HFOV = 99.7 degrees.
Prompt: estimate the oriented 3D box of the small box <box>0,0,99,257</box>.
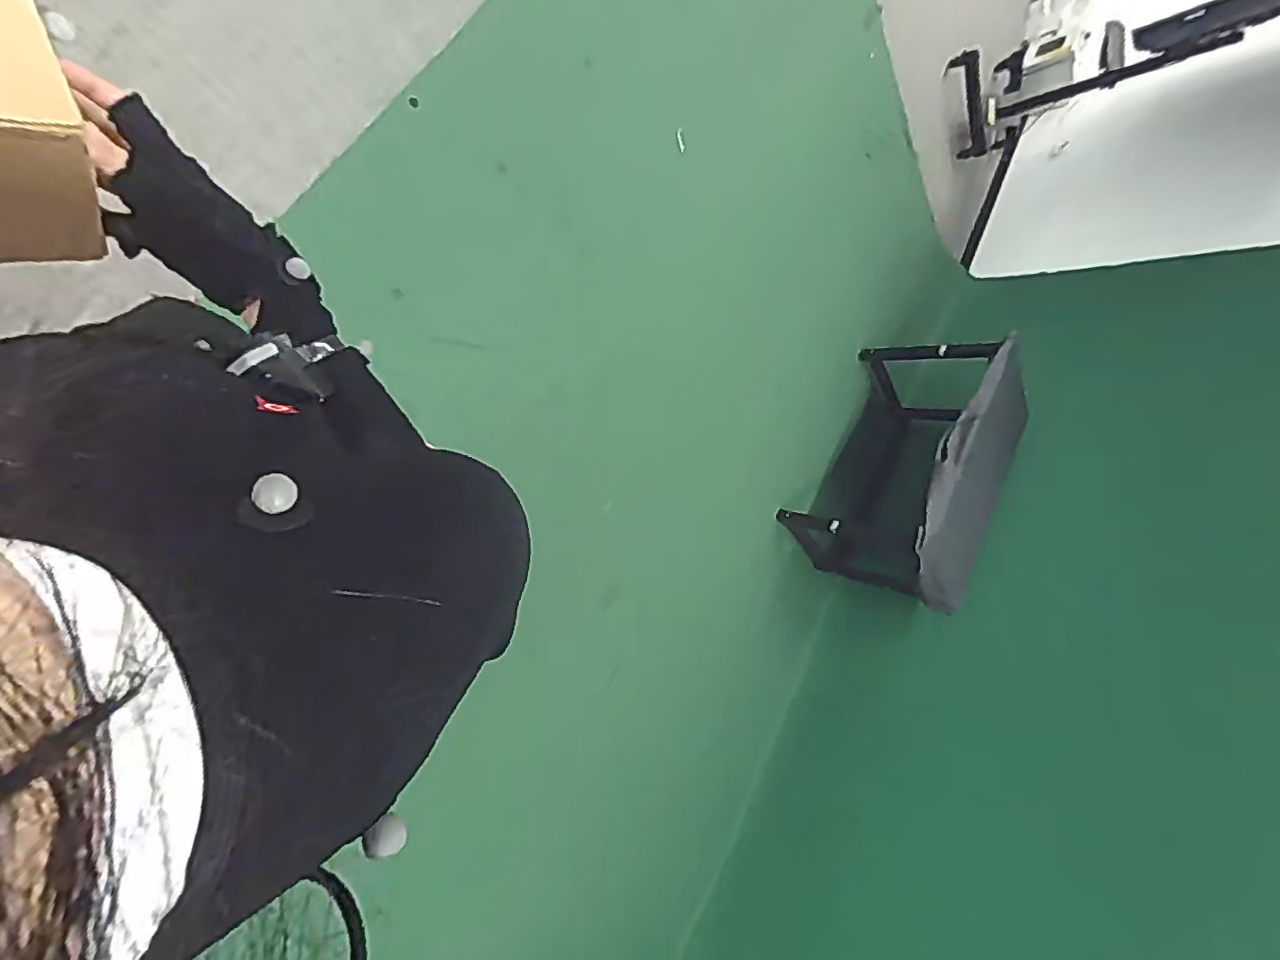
[{"bbox_3d":[-0.418,-0.231,0.271,0.168,0.176,0.179,-25,103,-41],"label":"small box"}]
